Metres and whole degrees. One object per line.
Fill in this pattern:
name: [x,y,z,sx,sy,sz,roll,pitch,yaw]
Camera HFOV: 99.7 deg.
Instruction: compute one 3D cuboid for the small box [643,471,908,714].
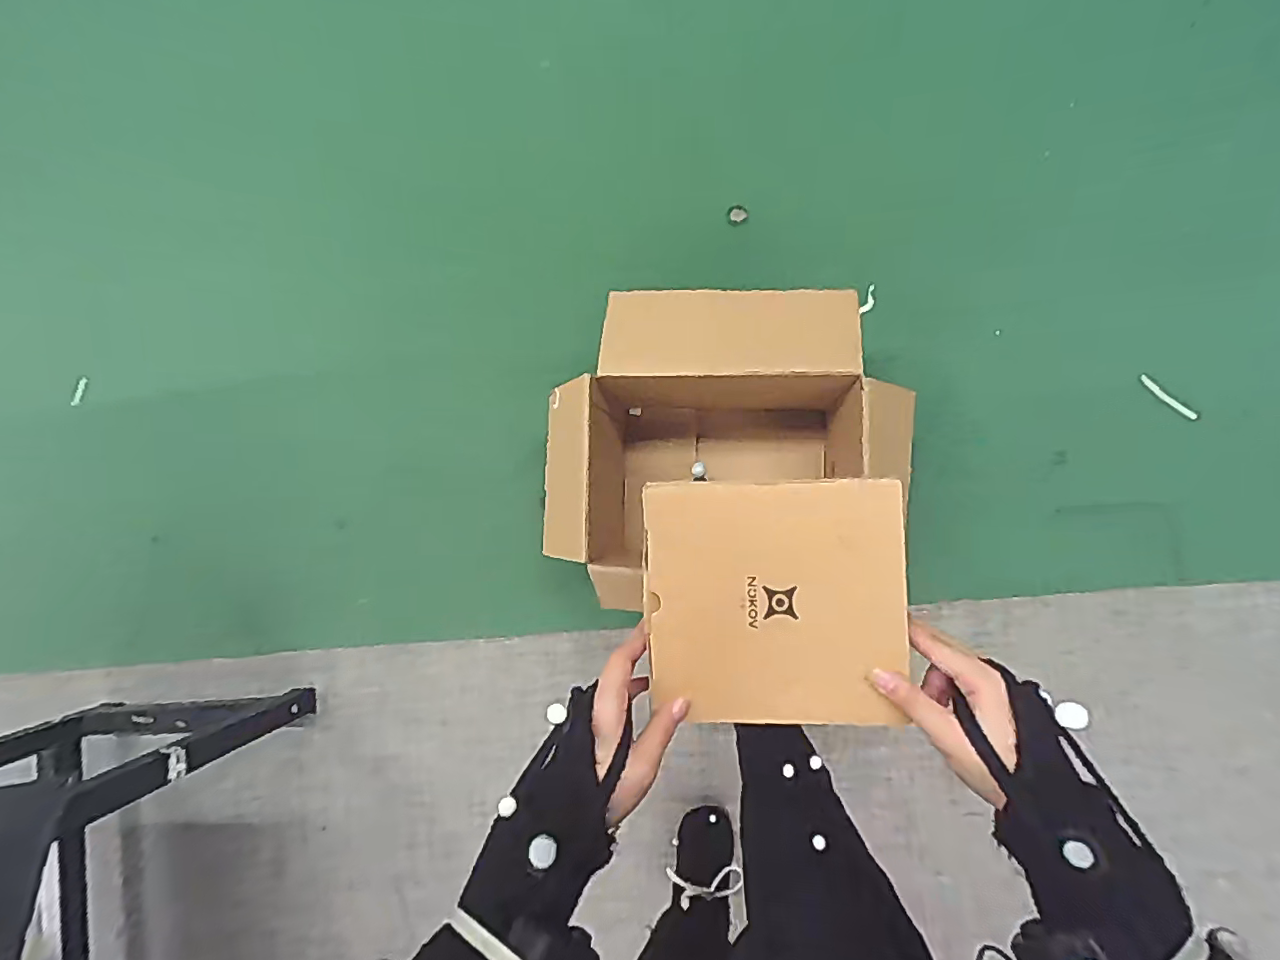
small box: [0.099,0.076,0.447,0.179,0.176,0.168,-2,89,7]
